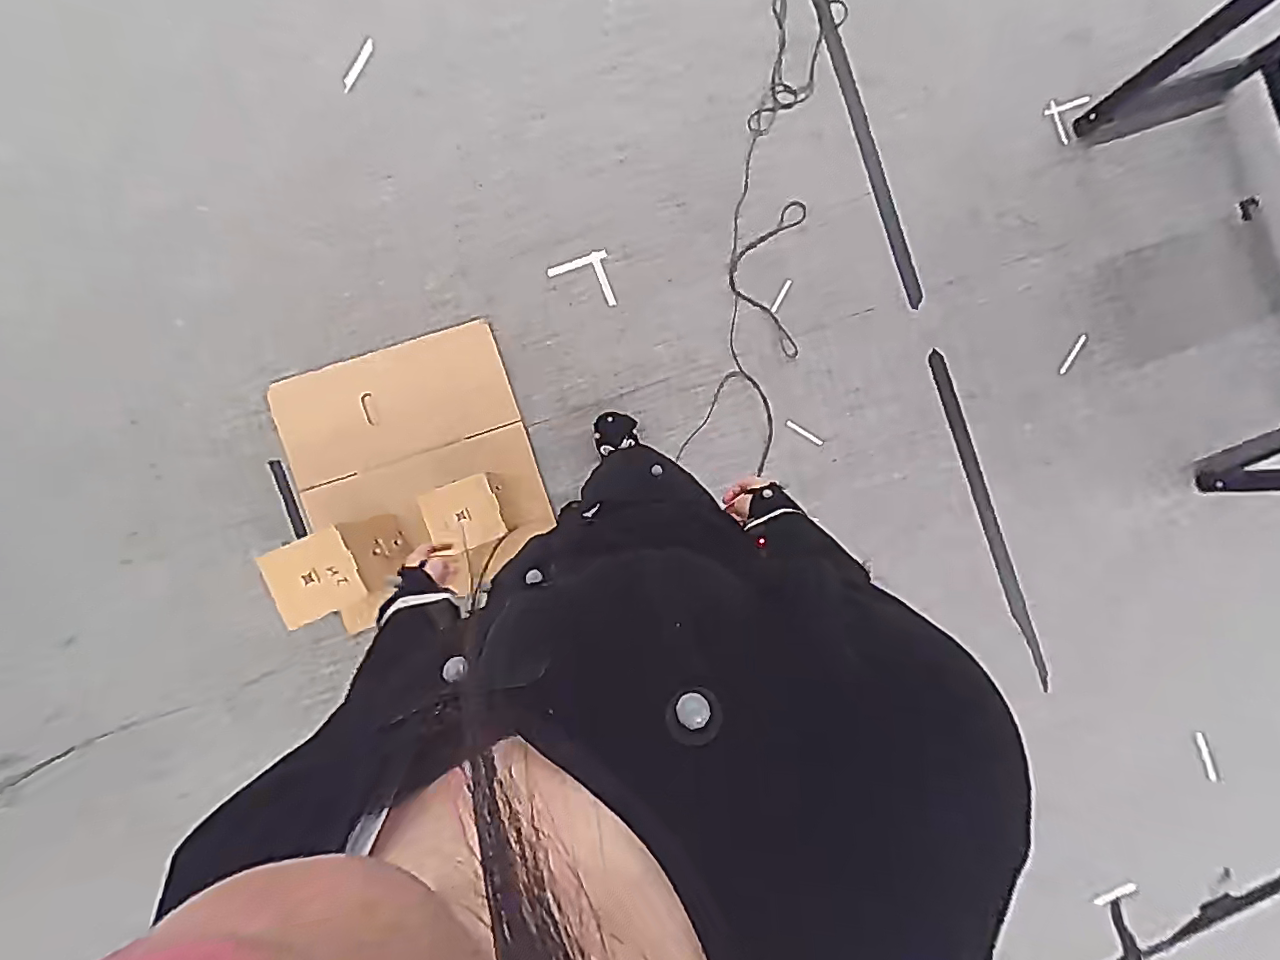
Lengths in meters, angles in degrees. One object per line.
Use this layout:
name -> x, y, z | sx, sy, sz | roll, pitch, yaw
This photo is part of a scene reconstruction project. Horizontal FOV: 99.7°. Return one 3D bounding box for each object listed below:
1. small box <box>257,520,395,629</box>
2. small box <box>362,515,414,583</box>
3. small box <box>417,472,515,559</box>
small box -> -0.674, 0.197, 1.181 | 0.179, 0.176, 0.168 | -24, 92, -5
small box -> -0.688, 0.195, 1.346 | 0.179, 0.176, 0.168 | -26, 91, -5
small box -> -0.429, 0.085, 1.370 | 0.179, 0.176, 0.168 | -22, 90, -4
